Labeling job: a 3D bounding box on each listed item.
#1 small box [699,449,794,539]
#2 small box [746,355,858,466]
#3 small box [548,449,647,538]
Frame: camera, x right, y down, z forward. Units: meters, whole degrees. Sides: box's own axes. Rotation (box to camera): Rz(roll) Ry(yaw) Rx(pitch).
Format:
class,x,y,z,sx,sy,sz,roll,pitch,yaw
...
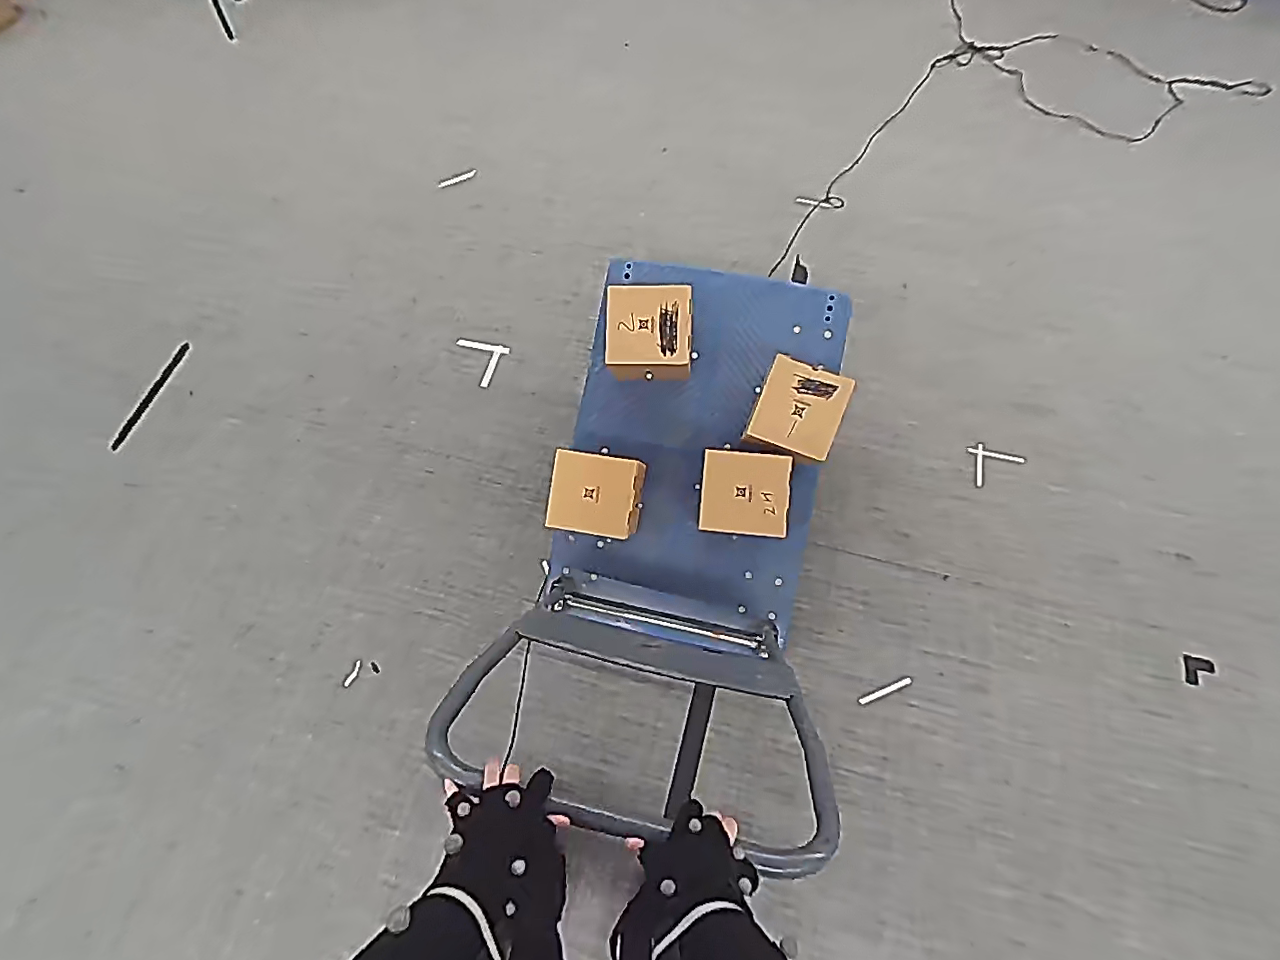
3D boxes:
class,x,y,z,sx,sy,sz,roll,pitch,yaw
small box,0.223,0.030,1.160,0.179,0.176,0.168,6,89,7
small box,0.334,-0.140,1.152,0.168,0.176,0.179,22,92,7
small box,-0.088,0.030,1.197,0.179,0.176,0.168,9,89,5
